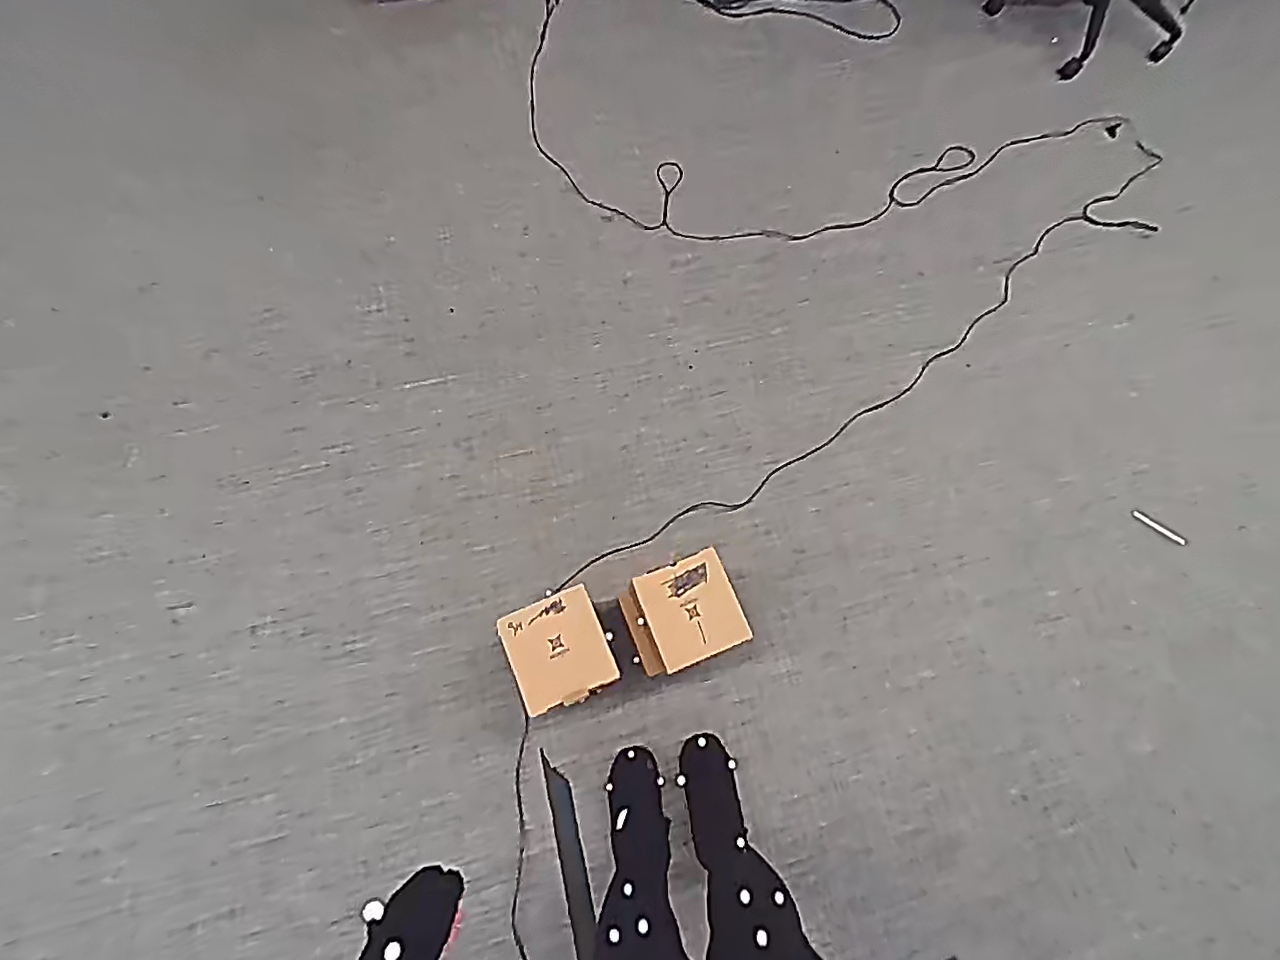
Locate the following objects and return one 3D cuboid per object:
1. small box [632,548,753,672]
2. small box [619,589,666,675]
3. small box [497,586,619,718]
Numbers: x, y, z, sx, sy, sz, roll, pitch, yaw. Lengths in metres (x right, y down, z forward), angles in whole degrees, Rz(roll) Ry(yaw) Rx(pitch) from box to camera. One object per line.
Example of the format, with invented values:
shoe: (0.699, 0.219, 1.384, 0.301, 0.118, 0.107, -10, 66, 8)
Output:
small box: (0.088, 0.250, 1.032, 0.168, 0.176, 0.179, -21, 76, -8)
small box: (0.058, 0.309, 1.185, 0.168, 0.176, 0.179, -22, 76, -9)
small box: (-0.144, 0.312, 1.003, 0.168, 0.176, 0.179, -22, 76, -9)
